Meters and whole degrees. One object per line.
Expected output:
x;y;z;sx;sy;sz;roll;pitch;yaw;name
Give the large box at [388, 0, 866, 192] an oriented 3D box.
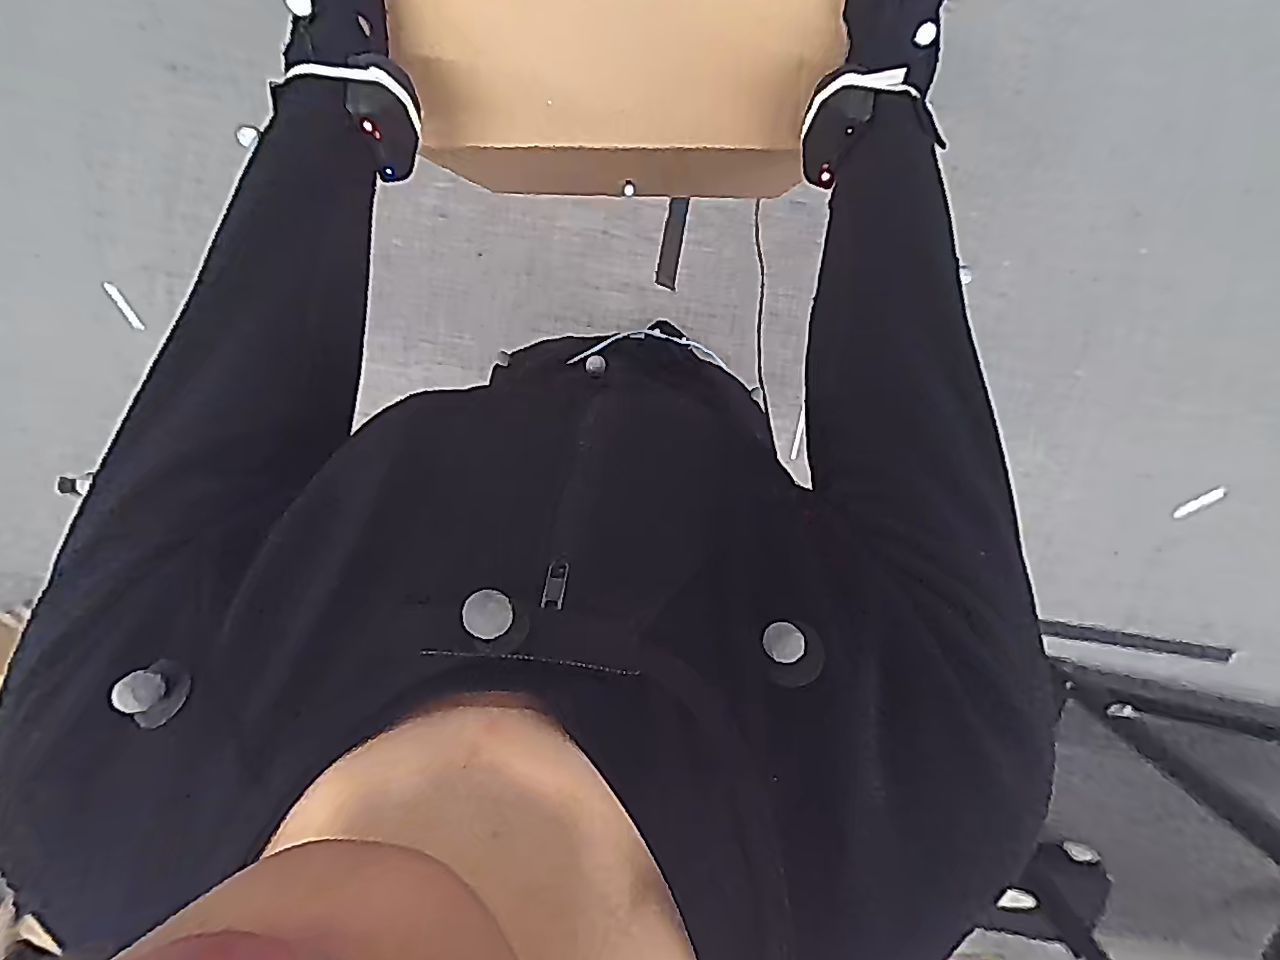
-0.004;-0.495;0.570;0.408;0.320;0.320;2;110;2;large box
